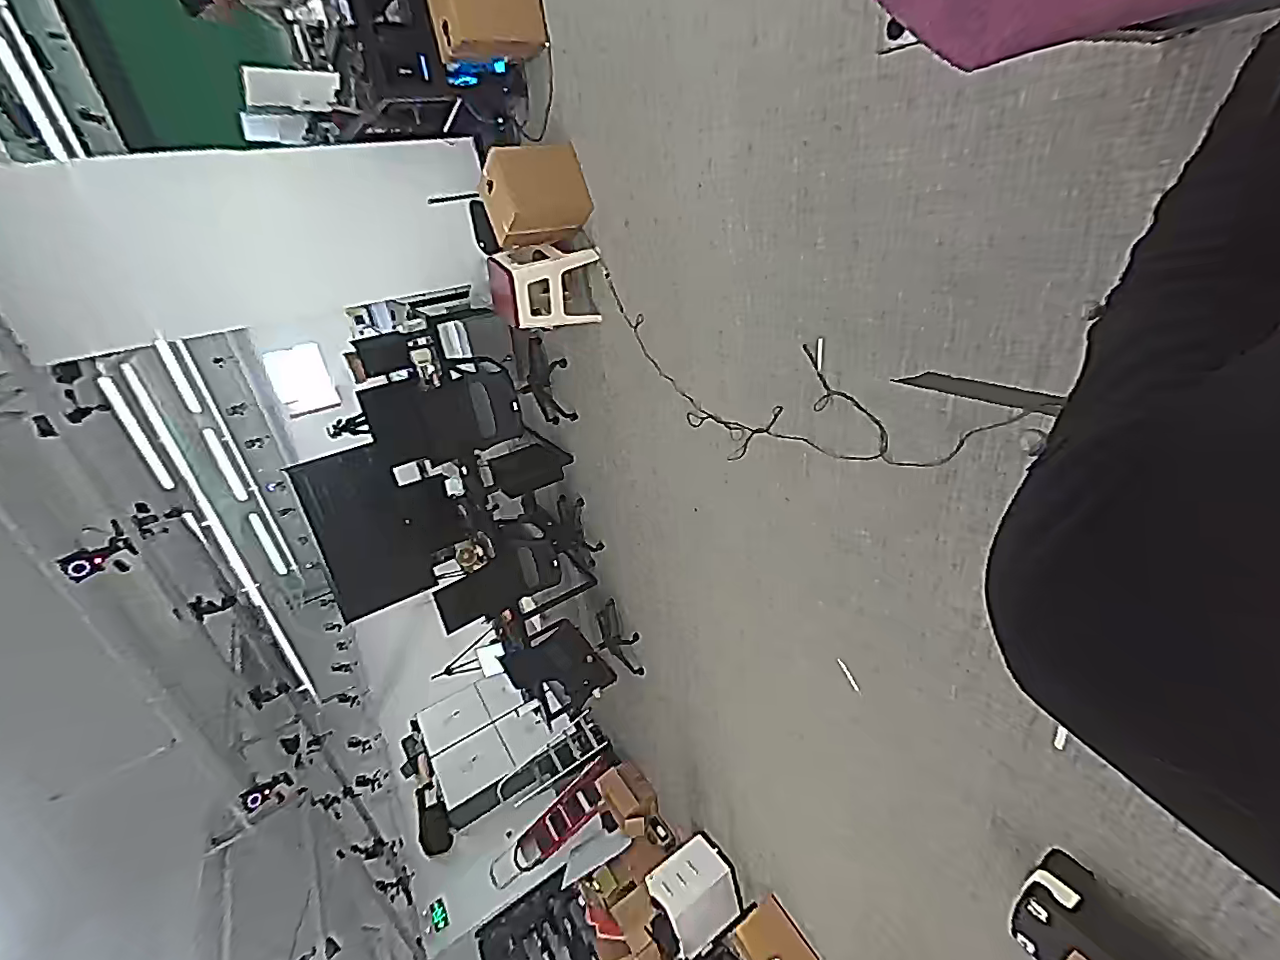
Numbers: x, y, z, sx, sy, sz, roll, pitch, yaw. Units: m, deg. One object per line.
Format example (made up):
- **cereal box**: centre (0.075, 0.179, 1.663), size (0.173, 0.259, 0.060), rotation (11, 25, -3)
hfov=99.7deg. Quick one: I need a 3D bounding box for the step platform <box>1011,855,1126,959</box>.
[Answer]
- **step platform**: centre (1.412, 1.422, 1.463), size (0.684, 0.204, 0.286), rotation (30, 136, 50)
